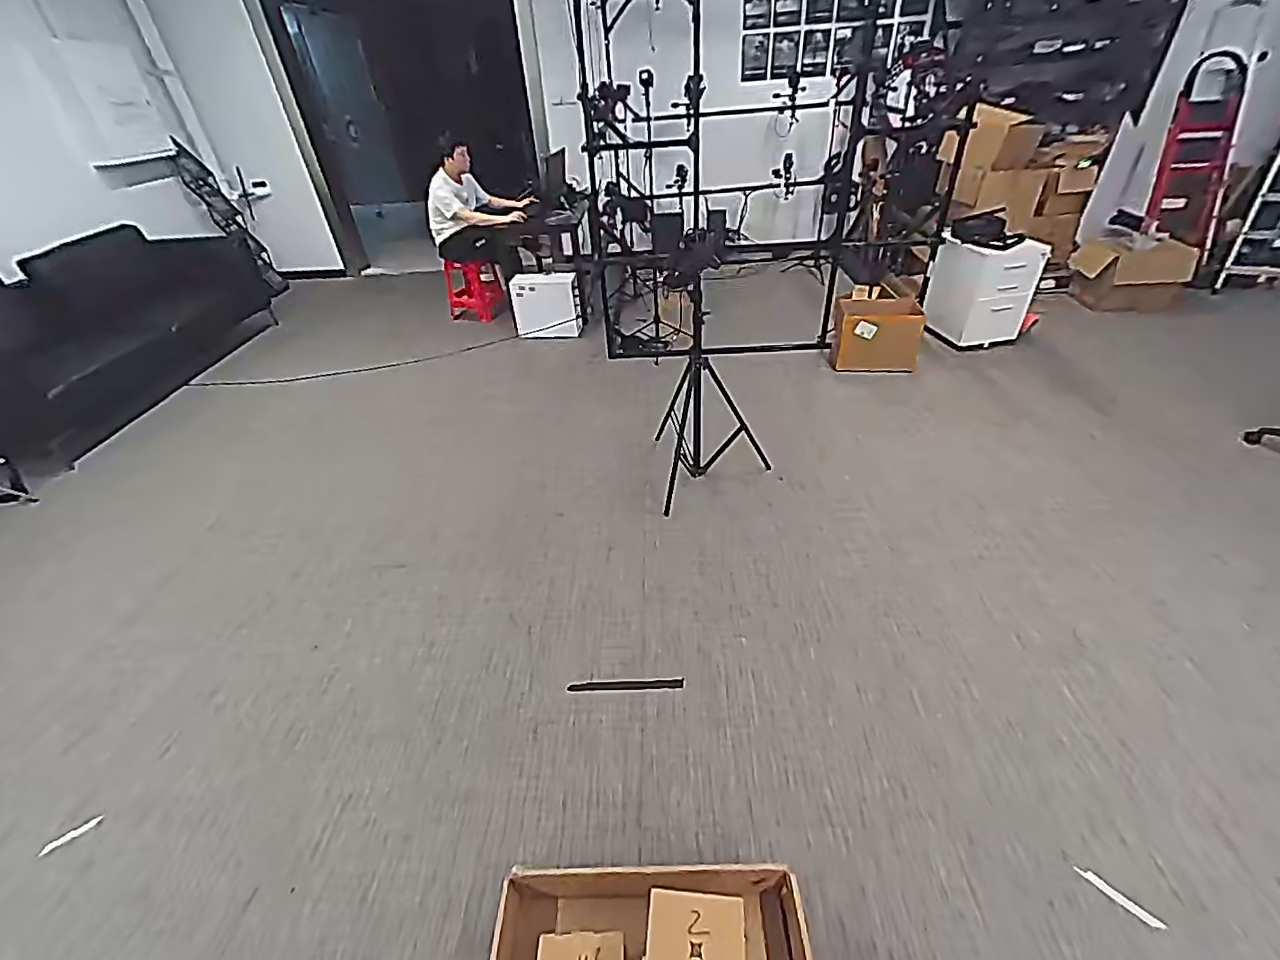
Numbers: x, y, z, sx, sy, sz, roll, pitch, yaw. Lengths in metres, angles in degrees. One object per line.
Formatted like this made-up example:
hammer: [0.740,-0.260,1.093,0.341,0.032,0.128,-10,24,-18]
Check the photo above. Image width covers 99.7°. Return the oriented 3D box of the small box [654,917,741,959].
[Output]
small box: [0.109,0.978,1.036,0.168,0.176,0.179,-1,38,7]

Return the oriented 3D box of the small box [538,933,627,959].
small box: [-0.107,0.996,1.026,0.168,0.176,0.179,-2,37,-1]
